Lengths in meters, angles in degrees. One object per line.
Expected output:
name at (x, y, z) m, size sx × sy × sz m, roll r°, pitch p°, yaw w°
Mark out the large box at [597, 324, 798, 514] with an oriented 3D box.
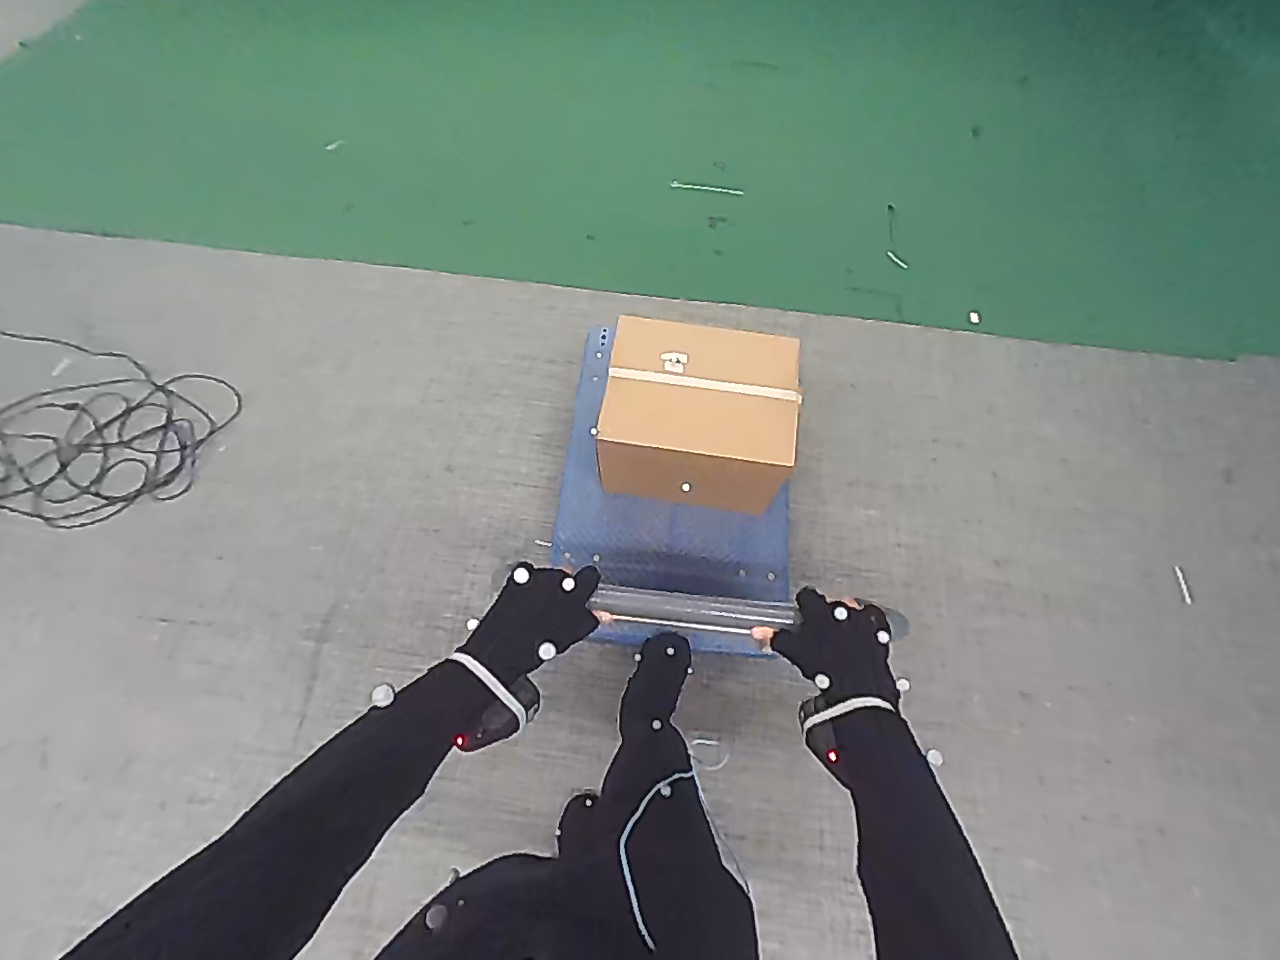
large box at (0.132, -0.127, 1.273) m, size 0.408 × 0.320 × 0.320 m, roll 8°, pitch 68°, yaw 3°
